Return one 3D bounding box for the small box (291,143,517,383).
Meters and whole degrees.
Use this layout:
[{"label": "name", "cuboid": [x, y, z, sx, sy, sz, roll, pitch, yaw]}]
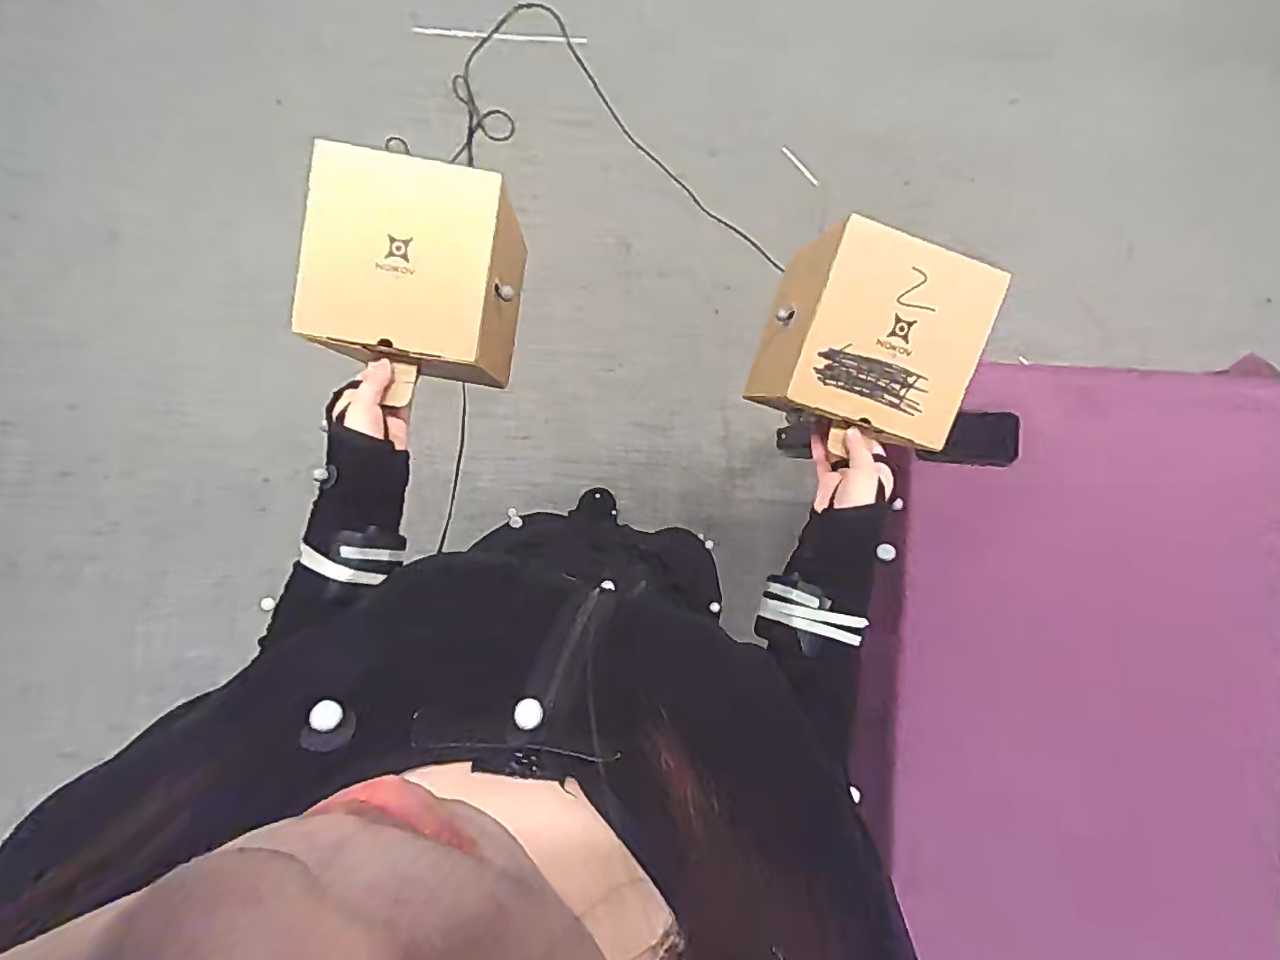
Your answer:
[{"label": "small box", "cuboid": [-0.231, -0.209, 0.573, 0.168, 0.176, 0.179, 9, 93, -5]}]
